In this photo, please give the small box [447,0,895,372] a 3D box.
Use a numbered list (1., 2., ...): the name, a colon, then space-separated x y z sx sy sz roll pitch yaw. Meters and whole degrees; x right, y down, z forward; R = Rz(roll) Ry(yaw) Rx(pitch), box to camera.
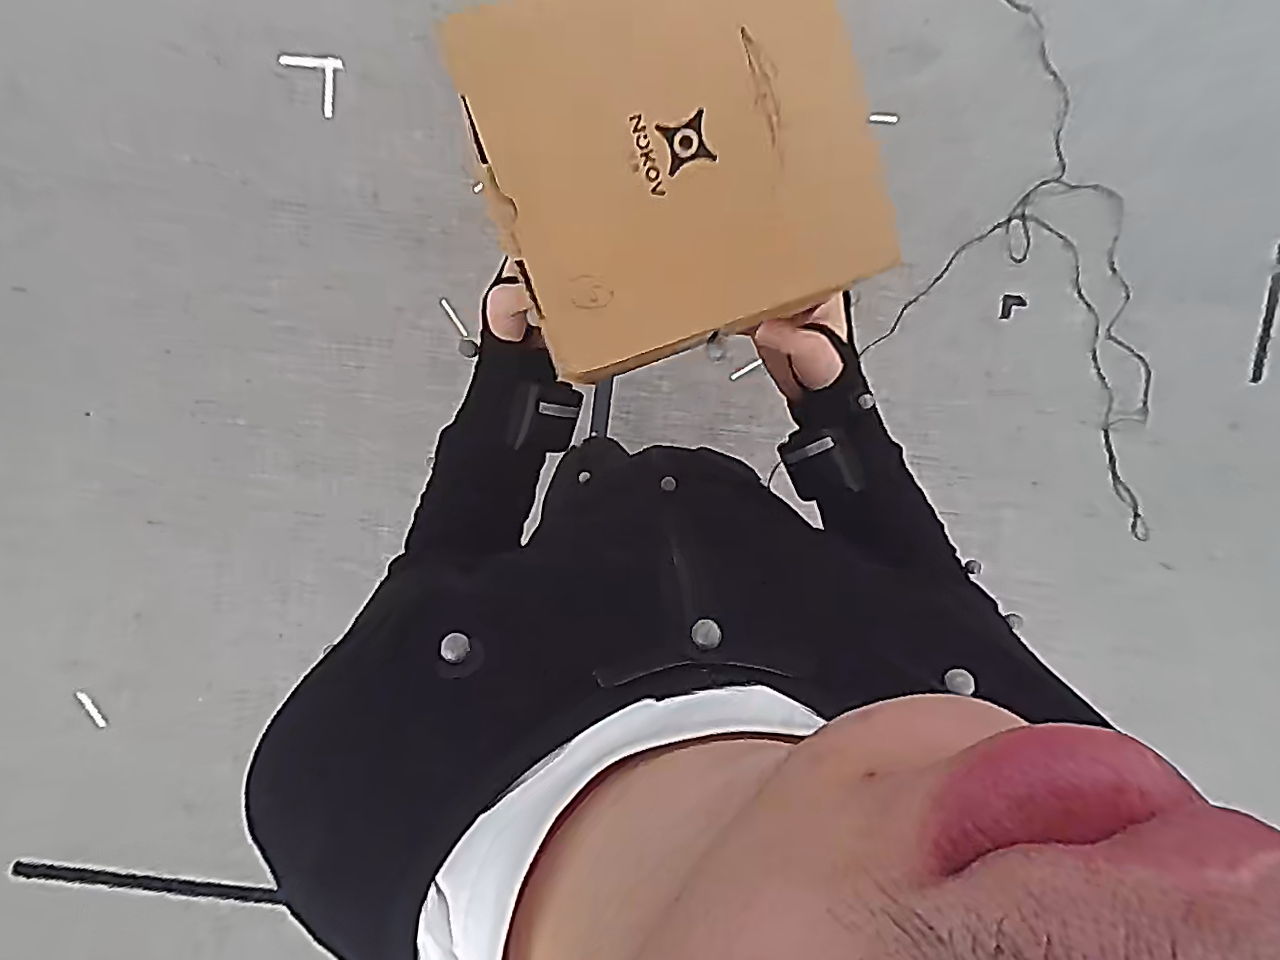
1. small box: 0.017 -0.173 0.336 0.179 0.176 0.168 -21 99 2
